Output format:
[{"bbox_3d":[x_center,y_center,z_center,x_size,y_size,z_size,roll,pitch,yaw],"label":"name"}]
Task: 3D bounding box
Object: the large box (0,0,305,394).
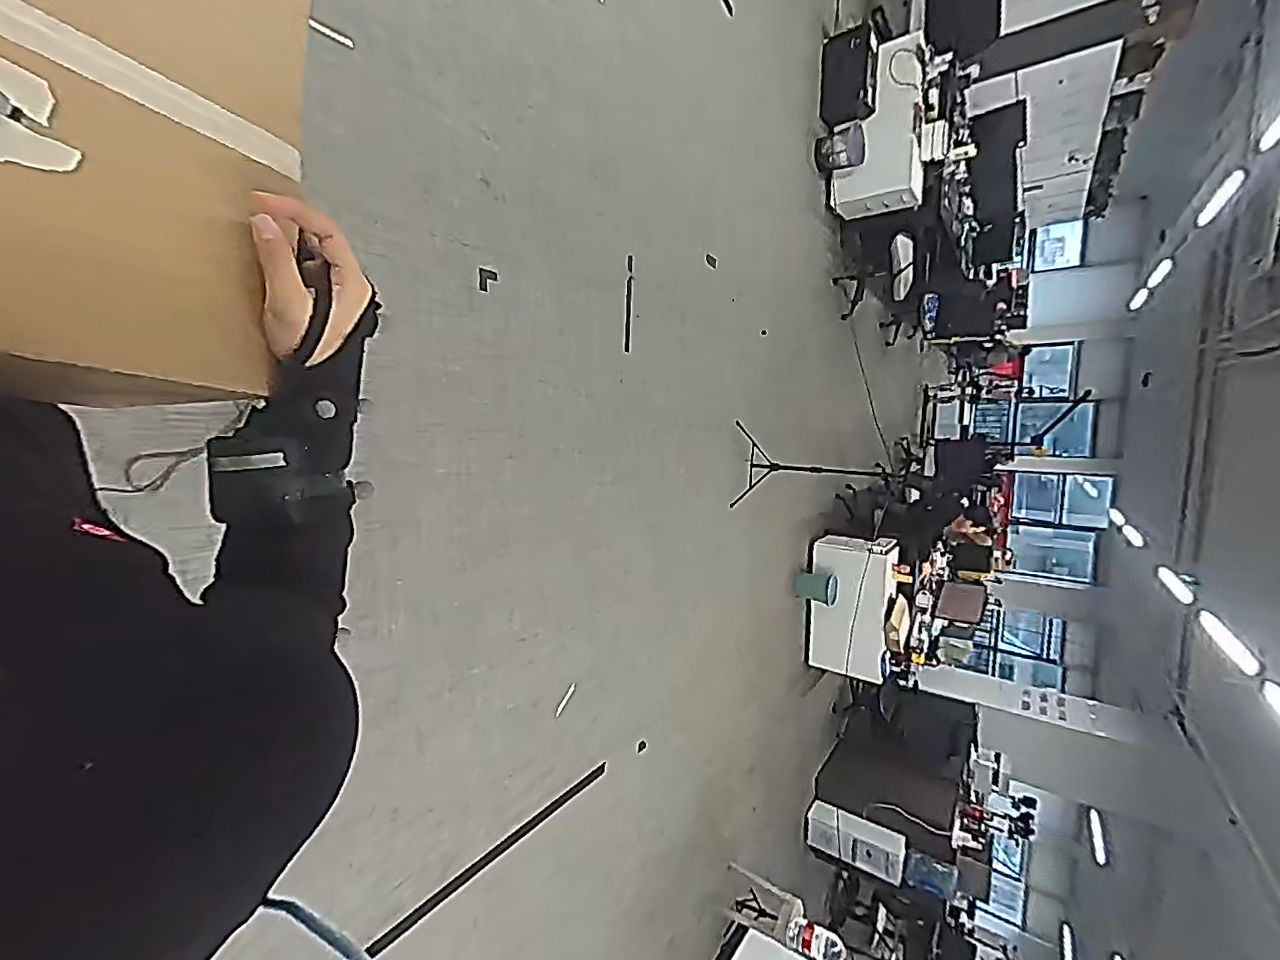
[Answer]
[{"bbox_3d":[-0.469,-0.233,0.279,0.408,0.320,0.320,5,89,-61],"label":"large box"}]
